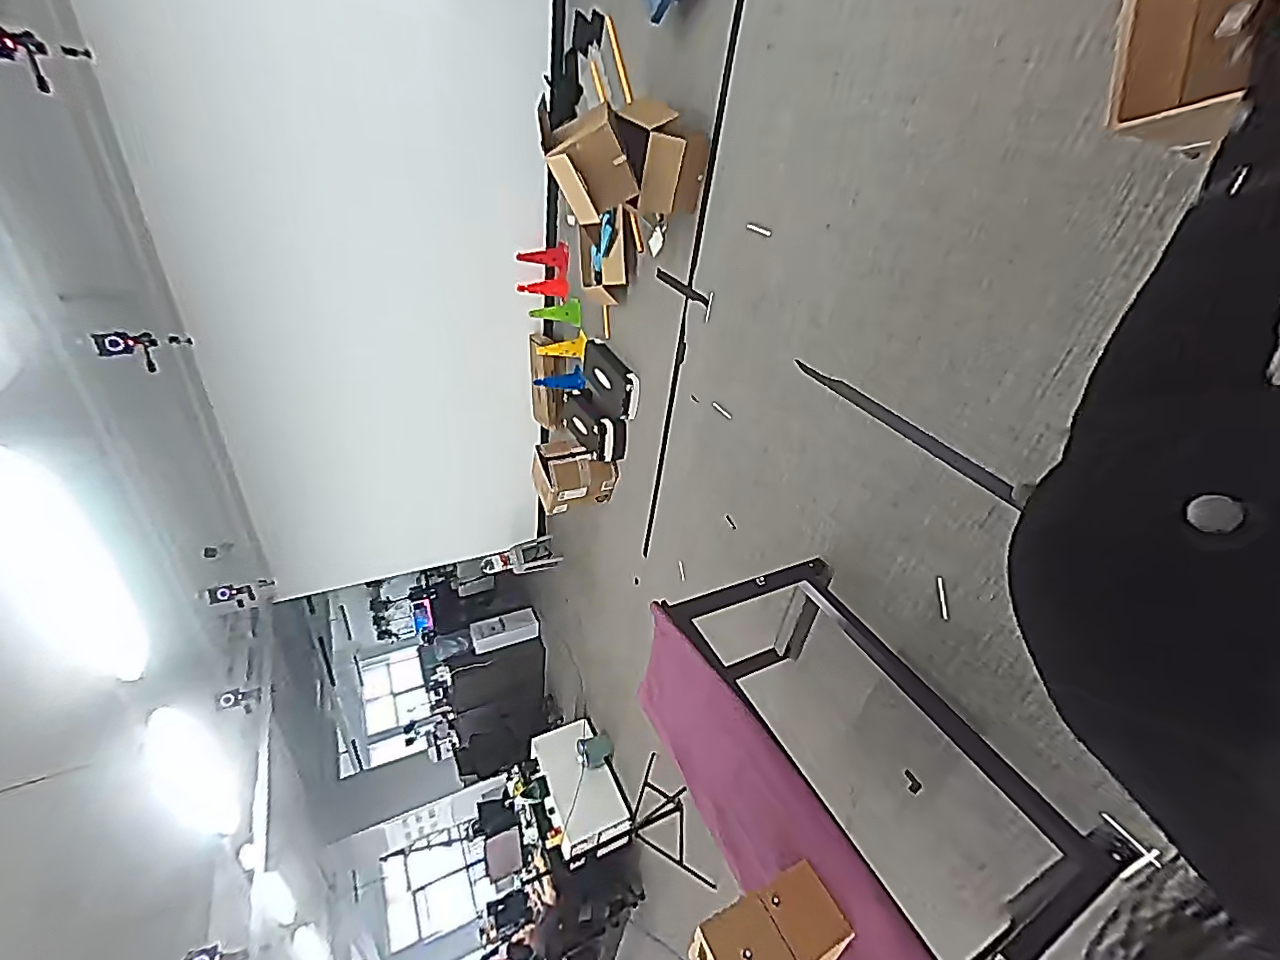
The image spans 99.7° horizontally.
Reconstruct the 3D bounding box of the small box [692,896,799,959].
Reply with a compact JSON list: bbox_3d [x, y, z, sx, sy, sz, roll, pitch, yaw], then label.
[{"bbox_3d":[0.245,1.108,1.245,0.179,0.176,0.168,48,141,47],"label":"small box"}]

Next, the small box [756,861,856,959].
[{"bbox_3d":[0.391,1.085,1.317,0.179,0.176,0.168,48,141,48],"label":"small box"}]
